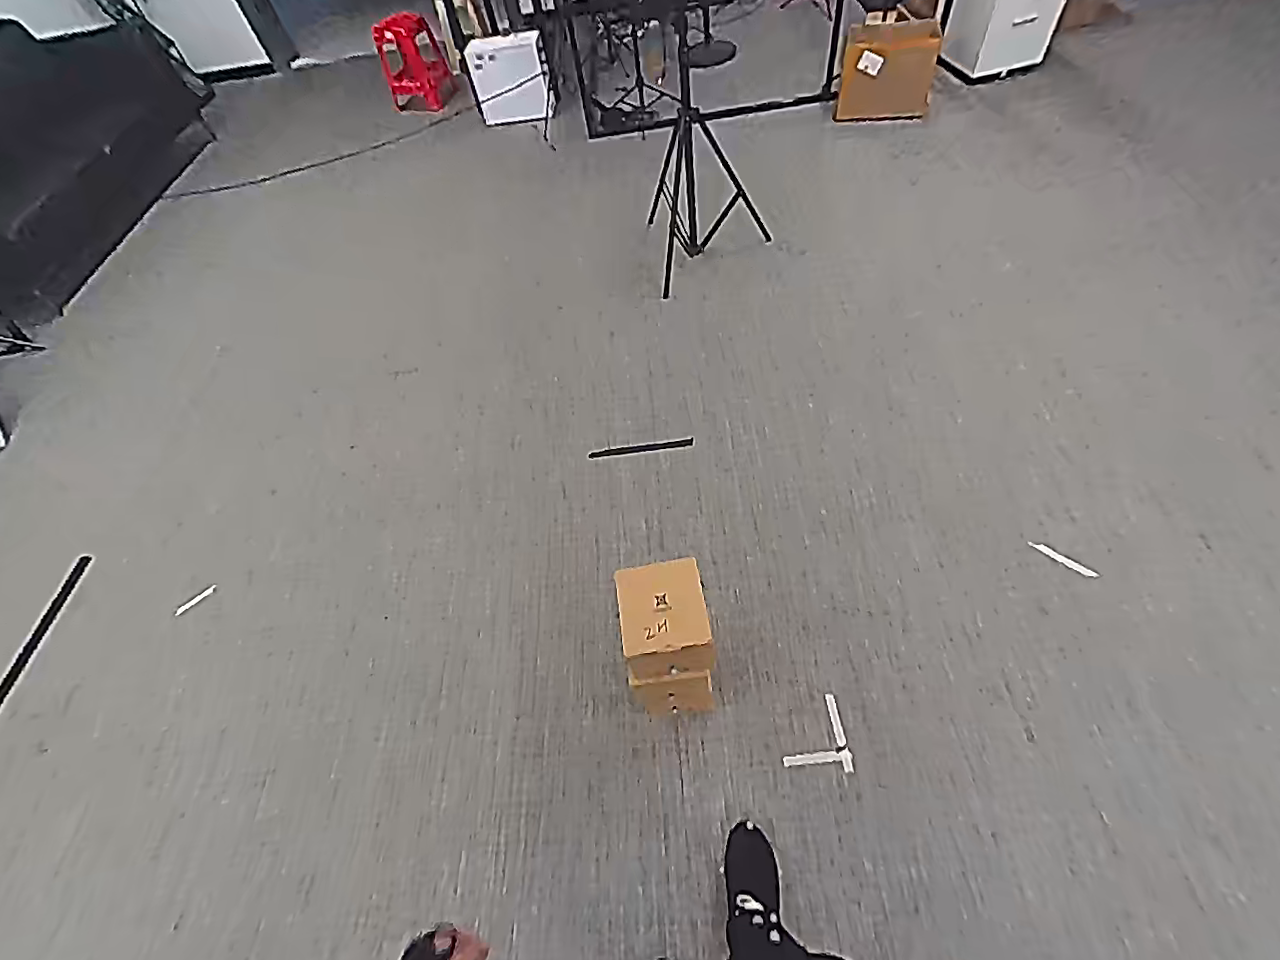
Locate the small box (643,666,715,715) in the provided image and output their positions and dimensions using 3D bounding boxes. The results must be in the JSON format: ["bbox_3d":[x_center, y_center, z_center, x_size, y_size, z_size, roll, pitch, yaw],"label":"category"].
[{"bbox_3d":[0.095,0.472,1.352,0.168,0.176,0.179,-8,55,4],"label":"small box"}]

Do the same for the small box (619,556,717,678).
[{"bbox_3d":[0.057,0.278,1.088,0.168,0.176,0.179,-11,55,2],"label":"small box"}]
